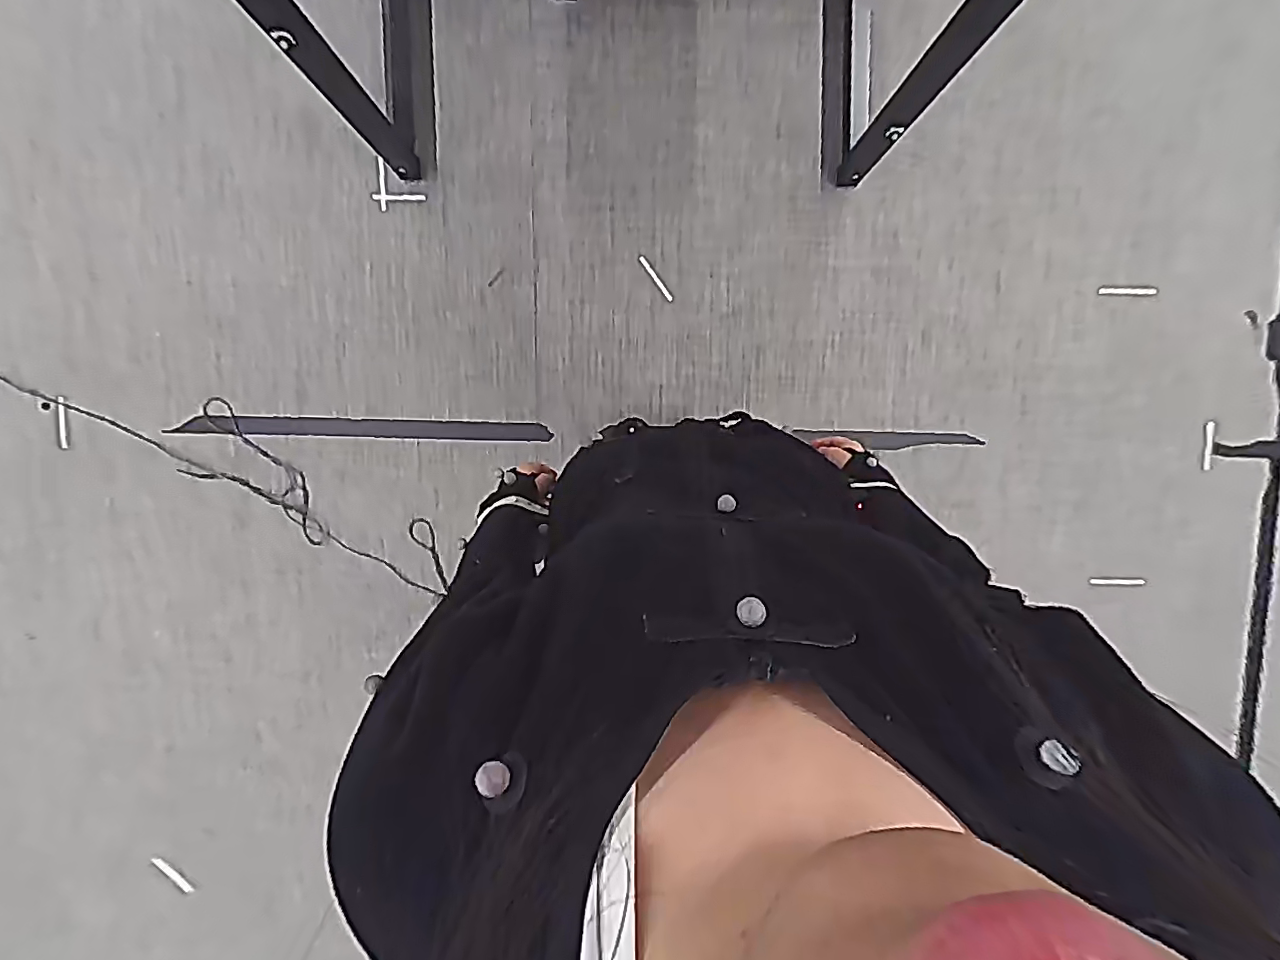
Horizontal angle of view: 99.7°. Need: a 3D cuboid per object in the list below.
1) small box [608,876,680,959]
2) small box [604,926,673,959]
[{"bbox_3d":[0.009,1.248,1.504,0.168,0.176,0.179,-13,95,0],"label":"small box"},{"bbox_3d":[0.008,1.269,1.340,0.168,0.176,0.179,-13,95,-2],"label":"small box"}]
